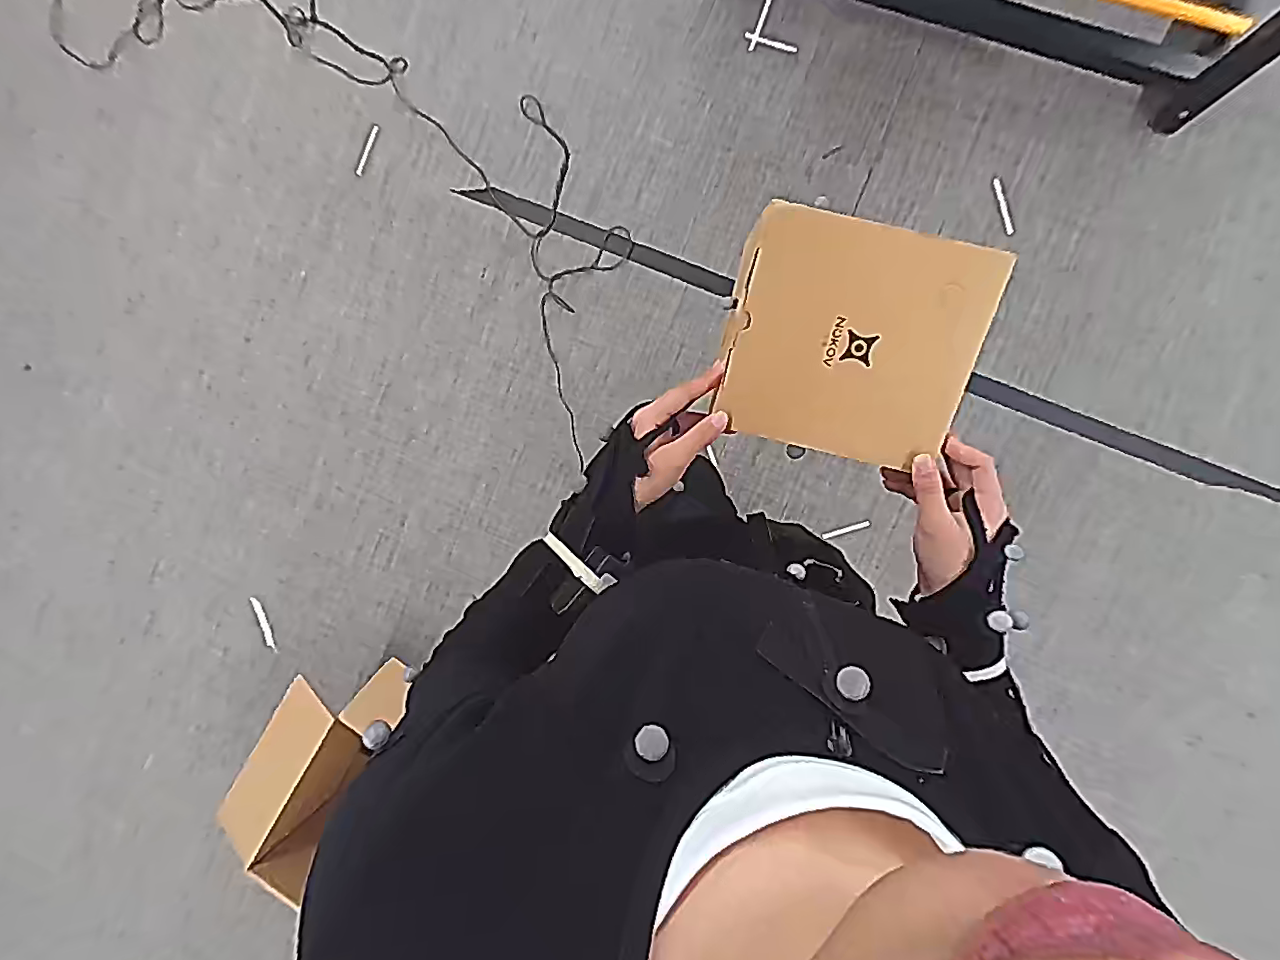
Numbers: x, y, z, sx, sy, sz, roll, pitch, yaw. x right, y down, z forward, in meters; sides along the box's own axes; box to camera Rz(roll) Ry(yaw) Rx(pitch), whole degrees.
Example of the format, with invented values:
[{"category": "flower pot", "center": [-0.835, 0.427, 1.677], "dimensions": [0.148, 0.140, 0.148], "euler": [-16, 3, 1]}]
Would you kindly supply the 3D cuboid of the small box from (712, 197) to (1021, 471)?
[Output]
[{"category": "small box", "center": [0.167, -0.123, 0.468], "dimensions": [0.179, 0.176, 0.168], "euler": [14, 107, 3]}]
